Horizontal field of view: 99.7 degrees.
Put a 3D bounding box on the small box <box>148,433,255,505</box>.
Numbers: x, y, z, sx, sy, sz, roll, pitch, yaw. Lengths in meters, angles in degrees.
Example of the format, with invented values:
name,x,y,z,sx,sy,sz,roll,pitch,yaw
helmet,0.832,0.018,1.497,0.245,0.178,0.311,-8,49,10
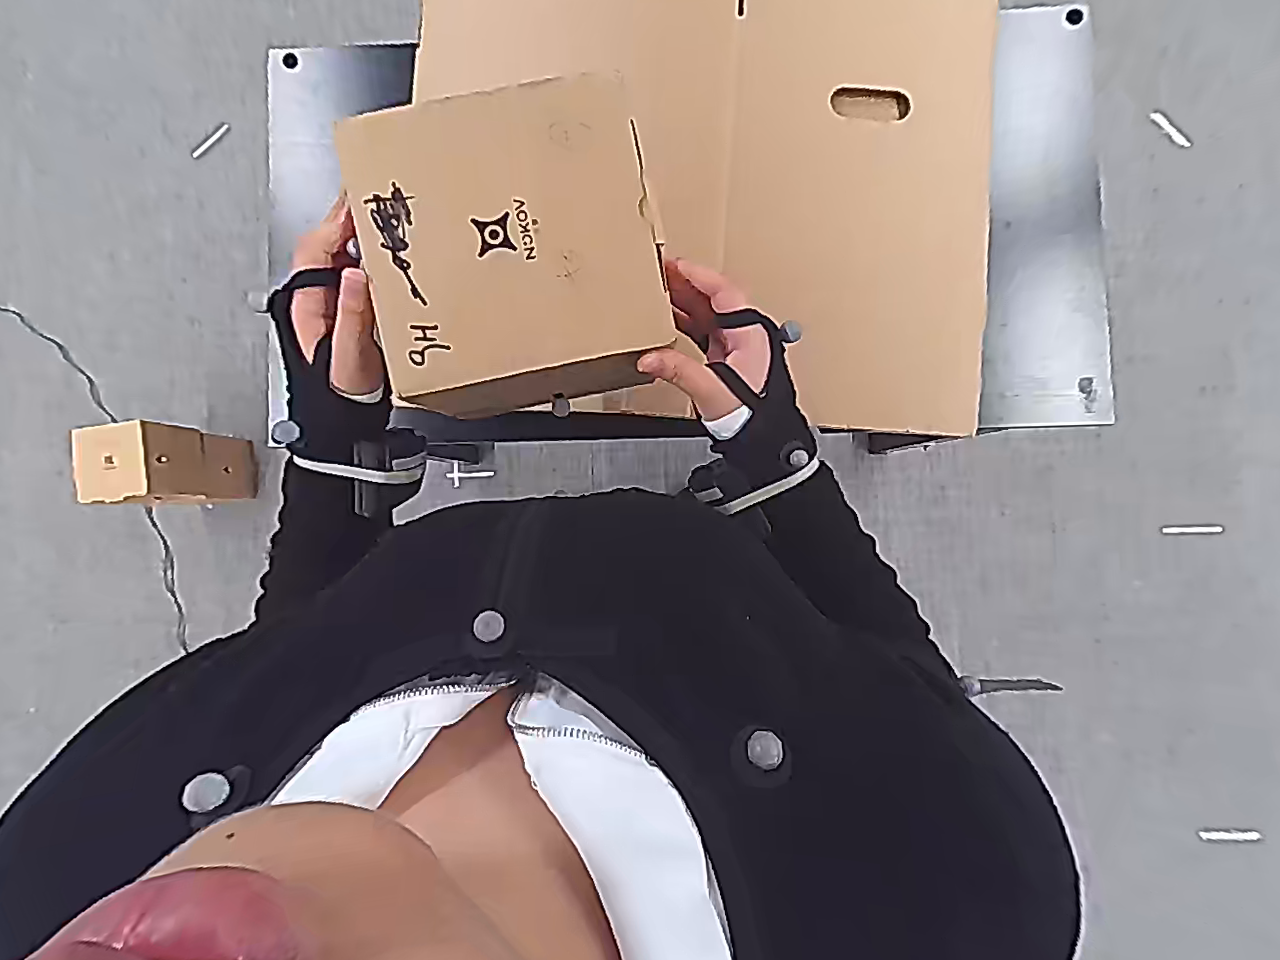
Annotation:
name,x,y,z,sx,sy,sz,roll,pitch,yaw
small box,-1.192,-0.026,1.472,0.168,0.176,0.179,-6,88,2

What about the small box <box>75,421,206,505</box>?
name,x,y,z,sx,sy,sz,roll,pitch,yaw
small box,-1.199,-0.038,1.310,0.168,0.176,0.179,-8,87,1
